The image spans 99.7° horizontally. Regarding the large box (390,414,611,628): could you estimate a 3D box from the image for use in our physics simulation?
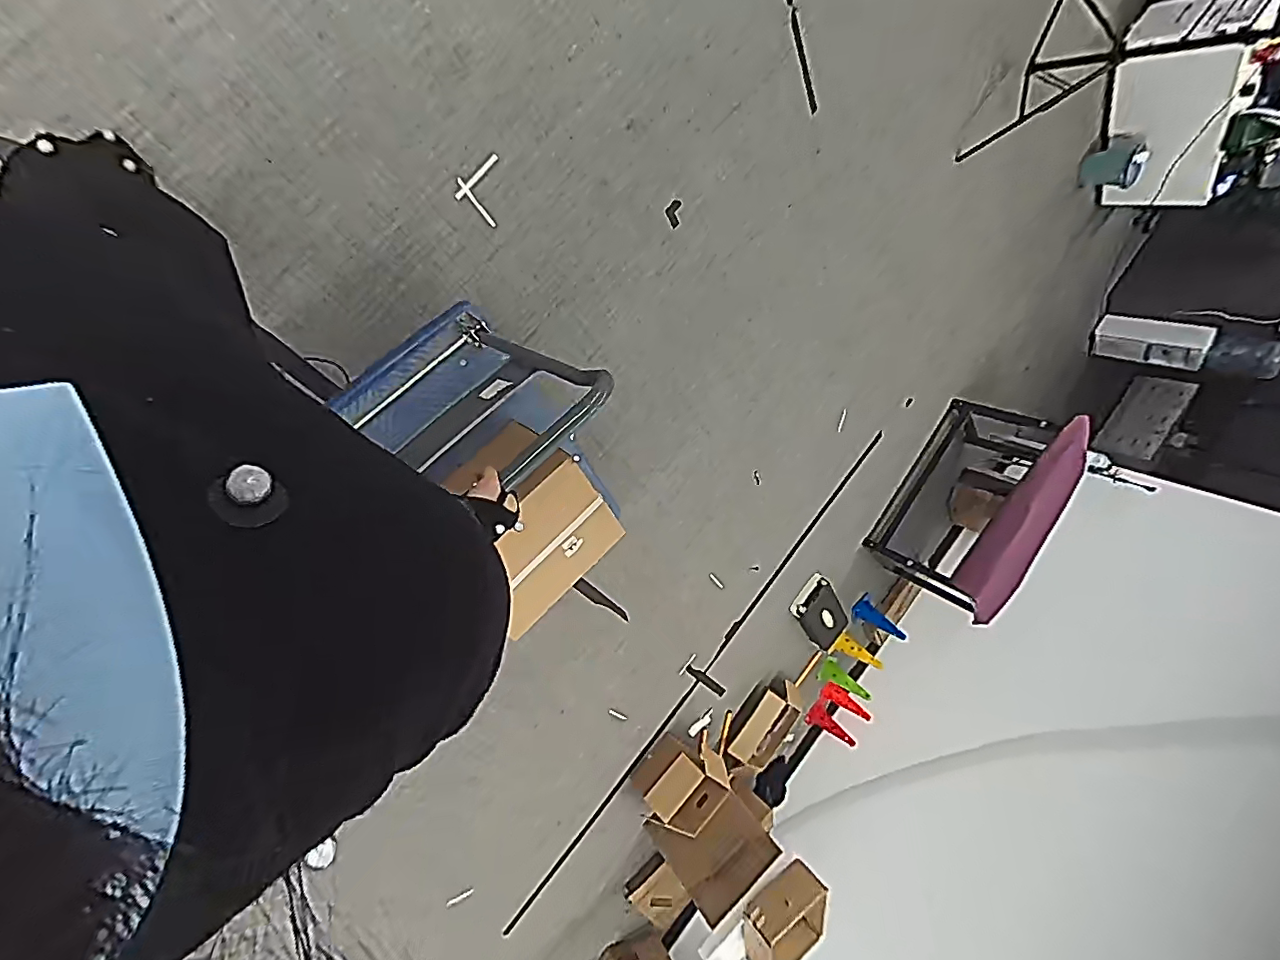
[{"bbox_3d":[-0.362,0.095,1.423,0.408,0.320,0.320,-45,134,-15],"label":"large box"}]
